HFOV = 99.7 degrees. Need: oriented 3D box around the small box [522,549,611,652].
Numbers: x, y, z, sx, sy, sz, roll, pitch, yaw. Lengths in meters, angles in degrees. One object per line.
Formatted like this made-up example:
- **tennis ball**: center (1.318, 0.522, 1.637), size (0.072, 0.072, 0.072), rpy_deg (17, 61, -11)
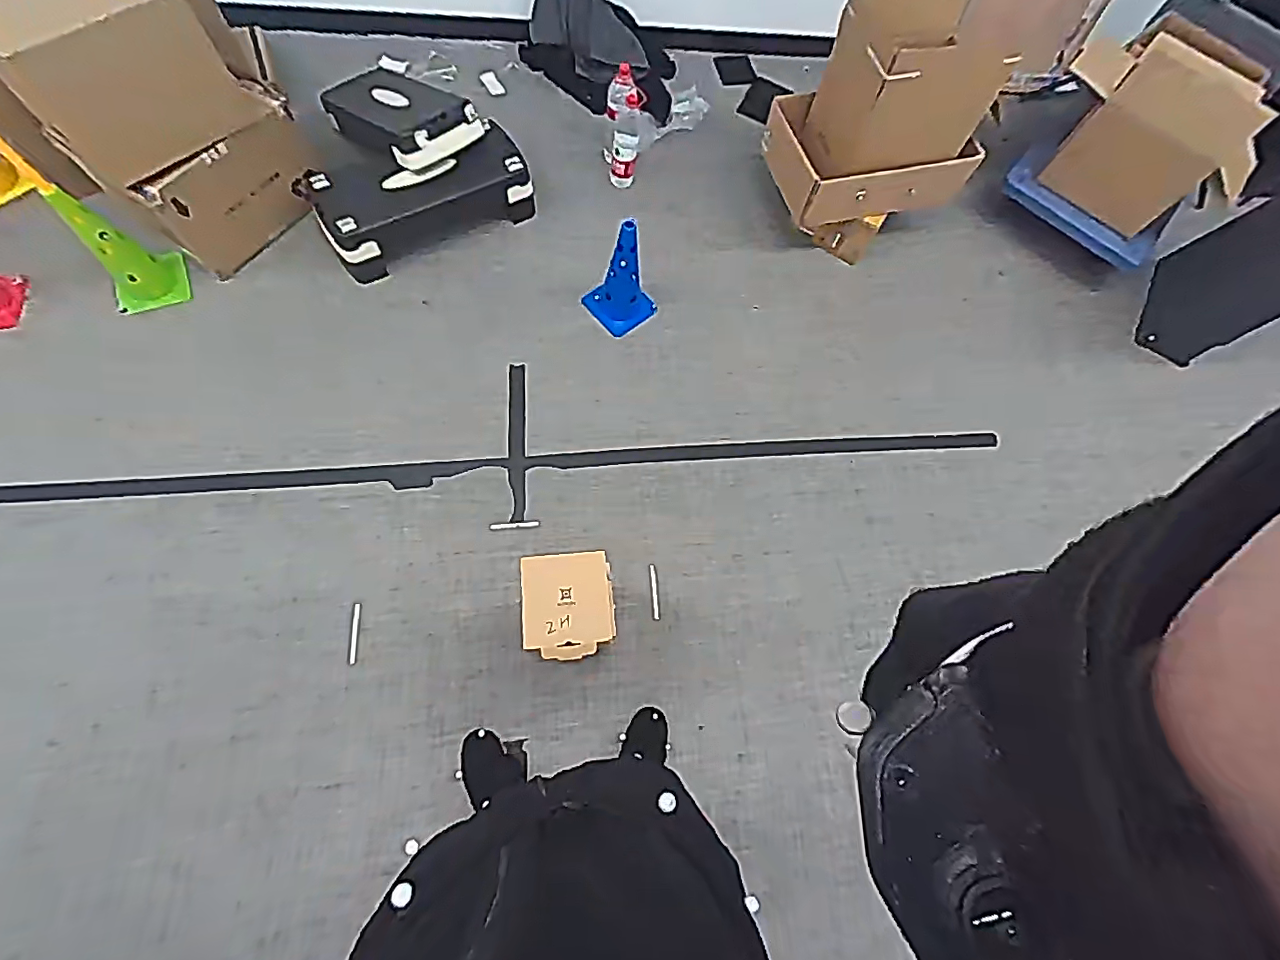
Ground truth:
- **small box**: center (-0.151, 0.248, 1.093), size (0.168, 0.176, 0.179), rpy_deg (-3, 71, -8)
